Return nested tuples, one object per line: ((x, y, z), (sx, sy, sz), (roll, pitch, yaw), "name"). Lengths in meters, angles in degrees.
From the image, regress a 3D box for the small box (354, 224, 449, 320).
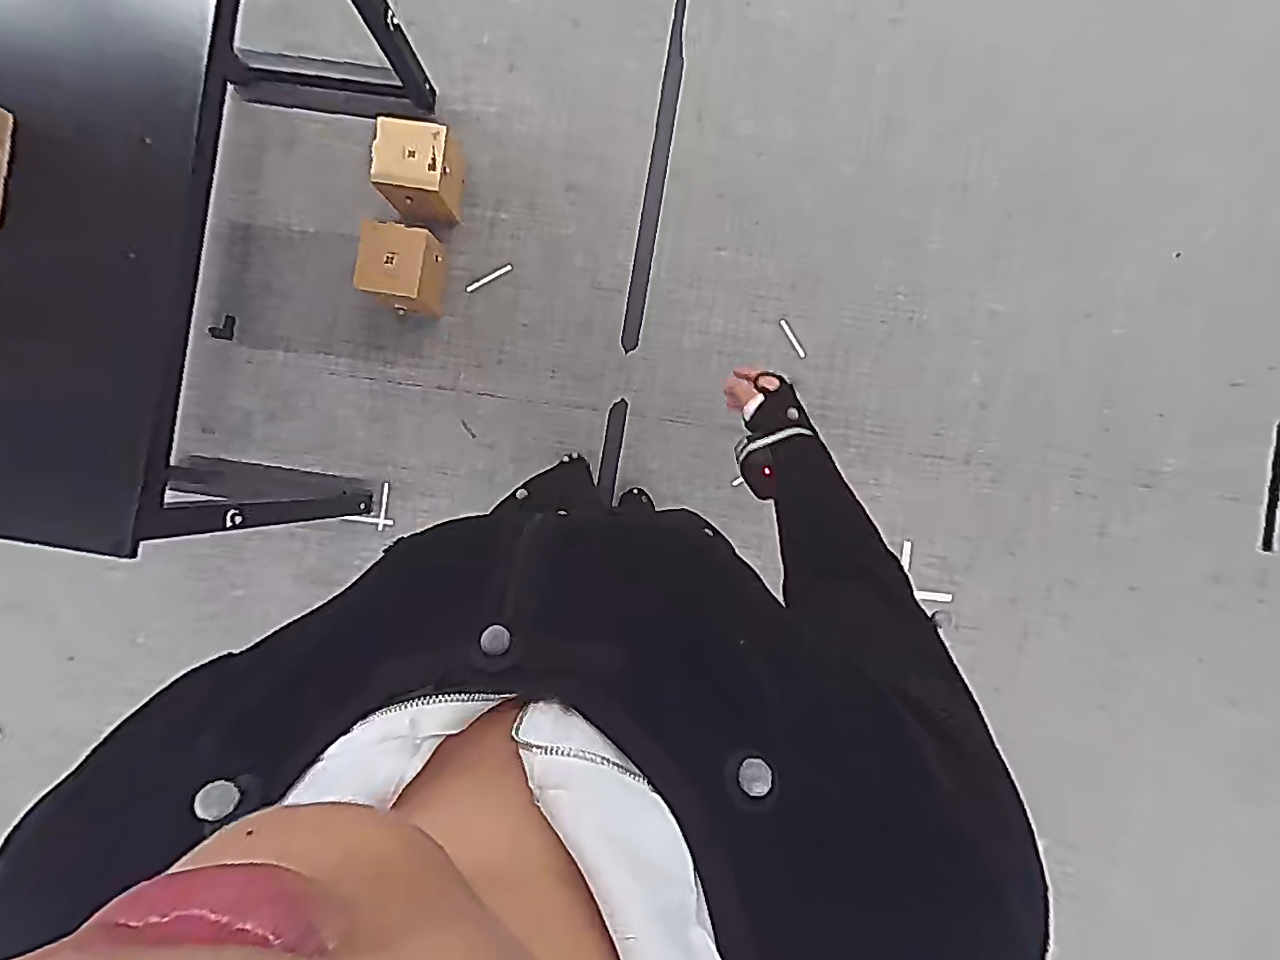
((-0.620, -0.541, 1.427), (0.168, 0.176, 0.179), (8, 91, 1), "small box")

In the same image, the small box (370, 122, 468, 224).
((-0.575, -0.800, 1.425), (0.179, 0.176, 0.168), (8, 90, 1), "small box")

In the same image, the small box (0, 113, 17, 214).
((-0.993, -0.452, 0.696), (0.179, 0.176, 0.168), (8, 90, -1), "small box")
